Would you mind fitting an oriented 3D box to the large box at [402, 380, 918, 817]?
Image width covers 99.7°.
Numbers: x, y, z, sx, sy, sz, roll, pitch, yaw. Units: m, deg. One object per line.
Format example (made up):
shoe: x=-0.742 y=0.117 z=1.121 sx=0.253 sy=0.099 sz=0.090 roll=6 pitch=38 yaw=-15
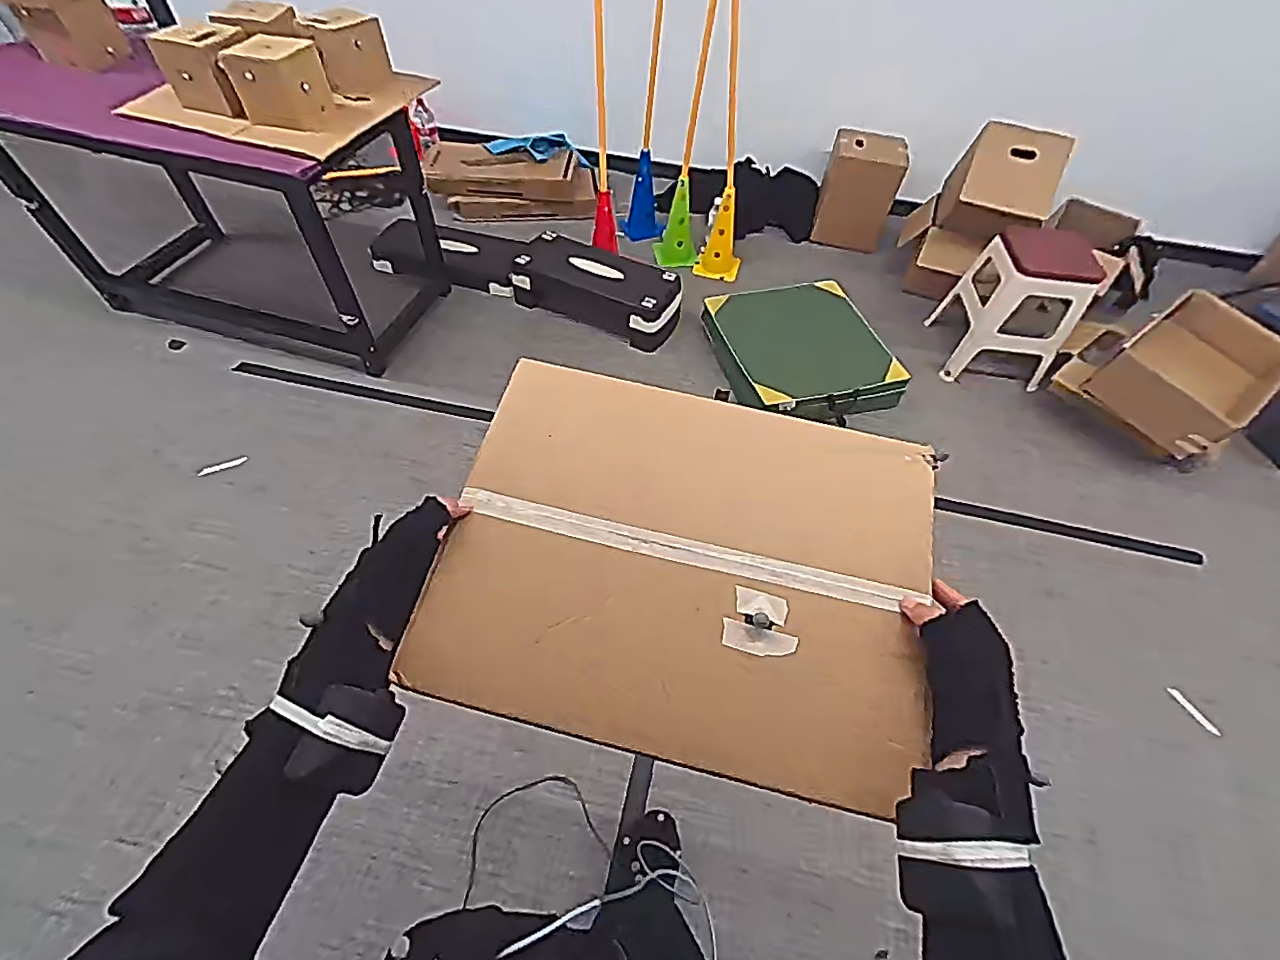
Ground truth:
large box: x=0.032 y=0.135 z=0.602 sx=0.408 sy=0.320 sz=0.320 roll=13 pitch=66 yaw=4
